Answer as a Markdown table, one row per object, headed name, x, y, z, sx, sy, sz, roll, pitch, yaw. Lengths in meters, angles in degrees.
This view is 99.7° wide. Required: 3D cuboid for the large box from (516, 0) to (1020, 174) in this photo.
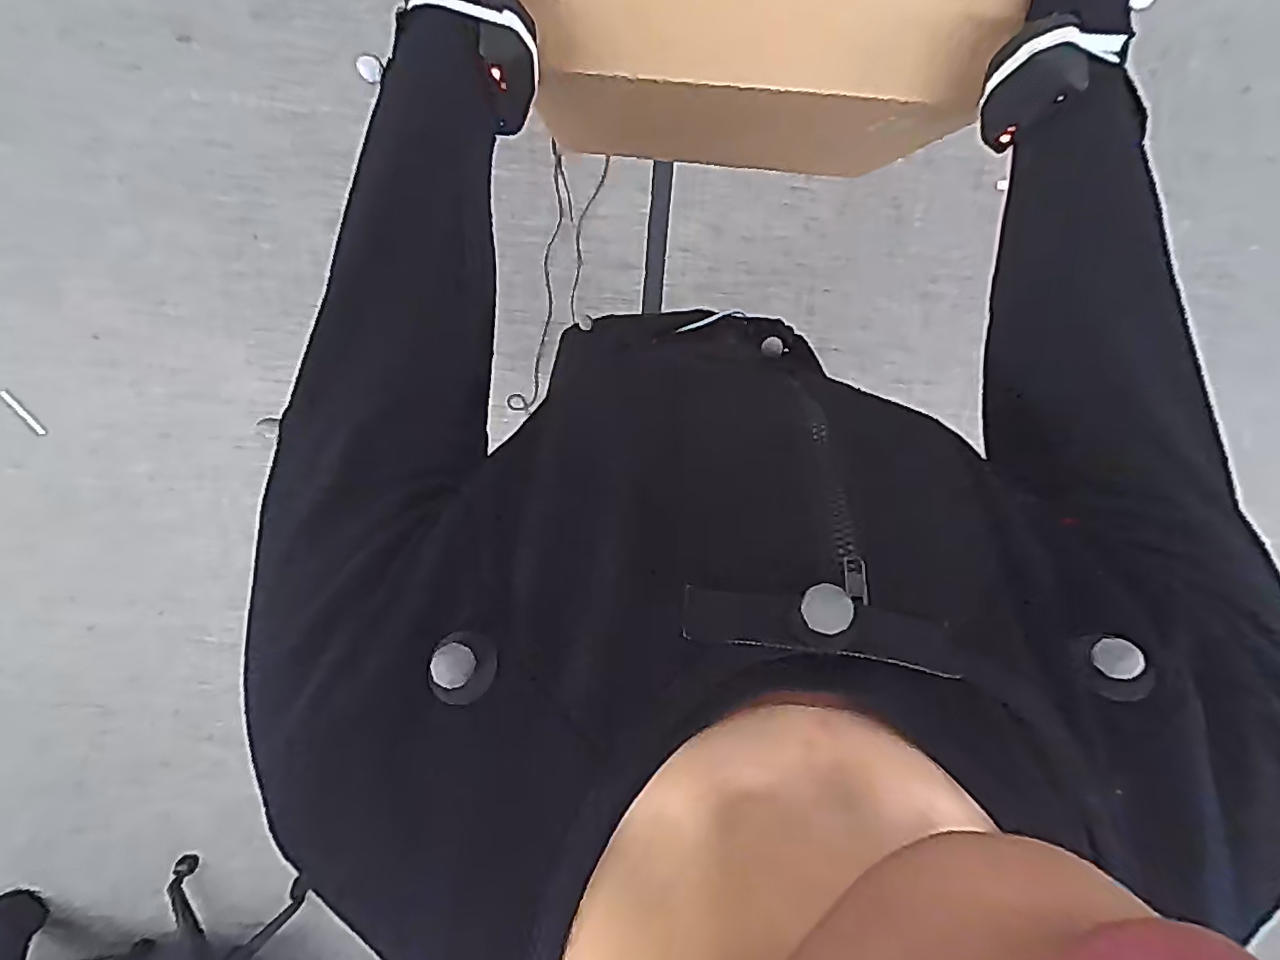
| name | x | y | z | sx | sy | sz | roll | pitch | yaw |
| --- | --- | --- | --- | --- | --- | --- | --- | --- | --- |
| large box | 0.104 | -0.513 | 0.532 | 0.408 | 0.320 | 0.320 | 4 | 111 | -2 |
